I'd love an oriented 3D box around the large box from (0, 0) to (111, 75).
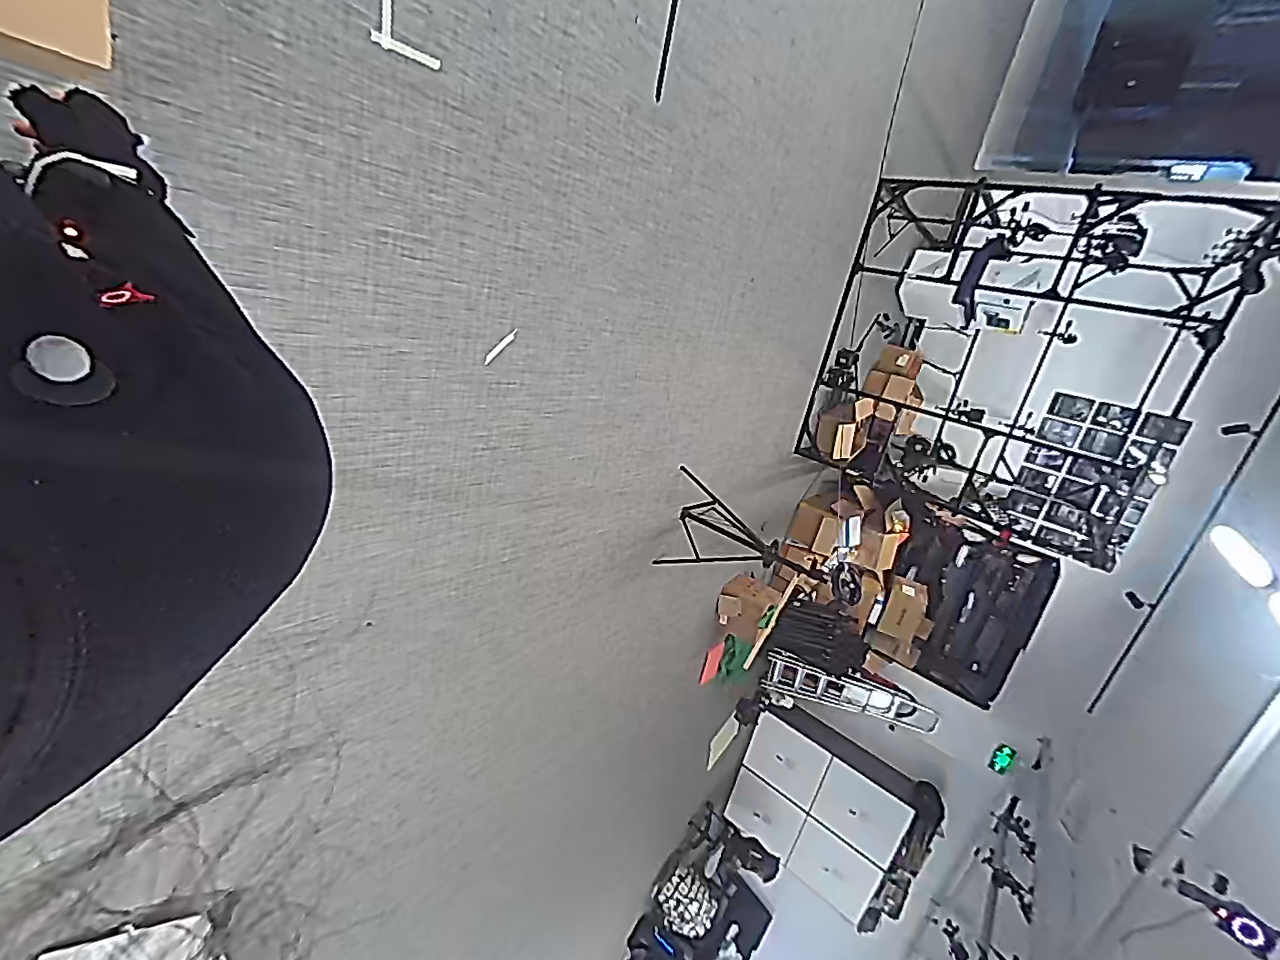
[{"bbox_3d":[-0.971,-0.766,0.661,0.408,0.320,0.320,-10,121,-53],"label":"large box"}]
